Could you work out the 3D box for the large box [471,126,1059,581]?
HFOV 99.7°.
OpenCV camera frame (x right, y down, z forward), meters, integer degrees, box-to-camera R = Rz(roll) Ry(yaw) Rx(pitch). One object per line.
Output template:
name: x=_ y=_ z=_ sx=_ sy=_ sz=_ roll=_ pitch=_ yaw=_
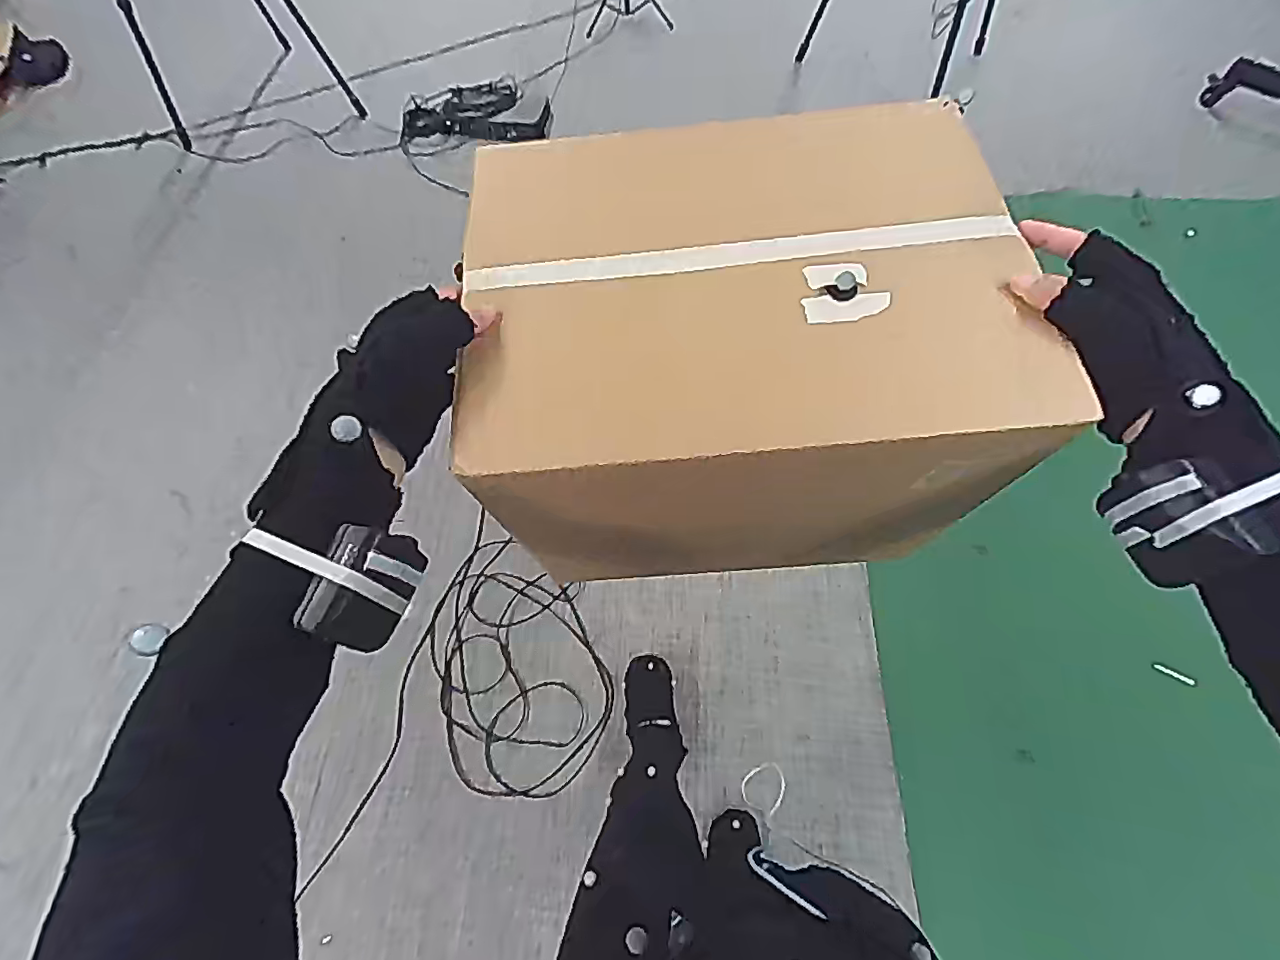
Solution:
large box: x=0.078 y=-0.098 z=0.556 sx=0.408 sy=0.320 sz=0.320 roll=-5 pitch=66 yaw=2
